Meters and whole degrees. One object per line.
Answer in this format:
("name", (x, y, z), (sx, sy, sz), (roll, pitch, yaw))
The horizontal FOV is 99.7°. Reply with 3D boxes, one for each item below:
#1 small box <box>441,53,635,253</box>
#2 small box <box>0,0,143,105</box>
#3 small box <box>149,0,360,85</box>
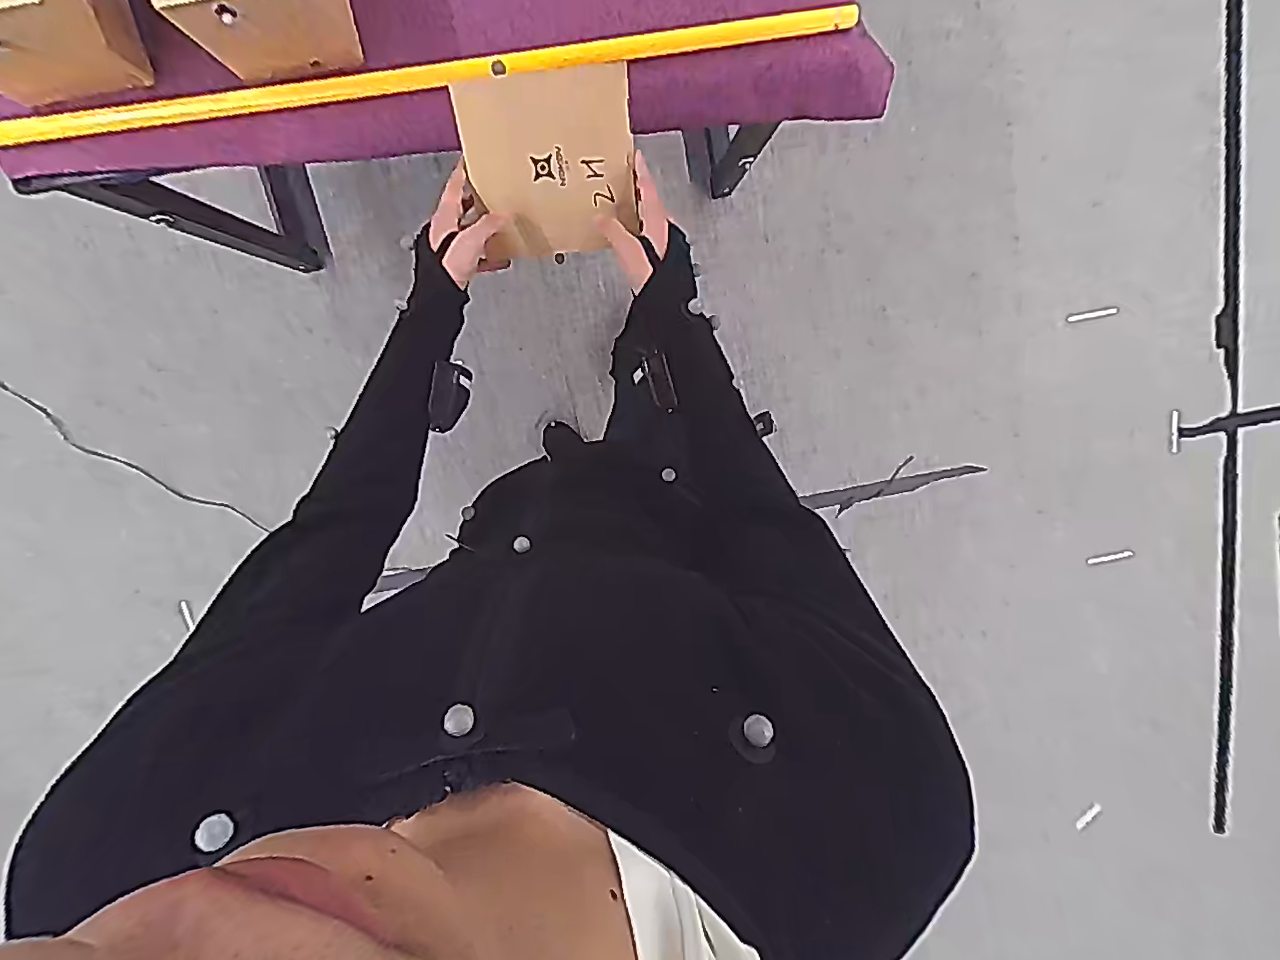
("small box", (-0.099, -0.363, 0.618), (0.179, 0.176, 0.168), (-6, 120, 1))
("small box", (-0.749, -0.582, 0.638), (0.179, 0.176, 0.168), (-13, 101, -2))
("small box", (-0.471, -0.624, 0.649), (0.168, 0.176, 0.179), (-11, 101, -1))
